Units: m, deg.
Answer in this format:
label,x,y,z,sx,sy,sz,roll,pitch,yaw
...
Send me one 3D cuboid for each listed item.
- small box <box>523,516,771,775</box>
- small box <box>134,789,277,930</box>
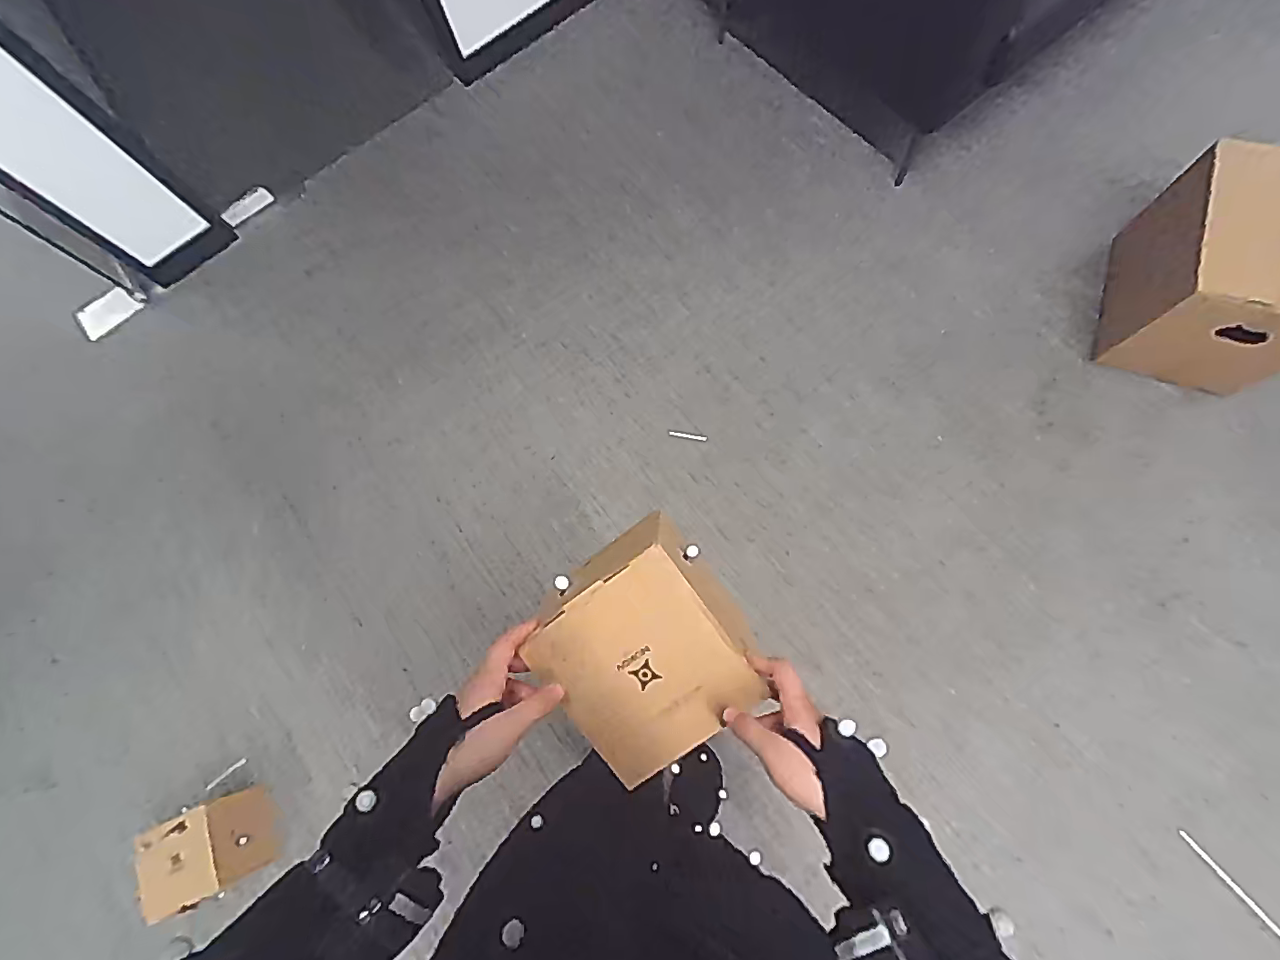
label,x,y,z,sx,sy,sz,roll,pitch,yaw
small box,0.009,0.153,0.572,0.168,0.176,0.179,-36,94,7
small box,-0.945,0.822,1.191,0.168,0.176,0.179,-26,74,-2
